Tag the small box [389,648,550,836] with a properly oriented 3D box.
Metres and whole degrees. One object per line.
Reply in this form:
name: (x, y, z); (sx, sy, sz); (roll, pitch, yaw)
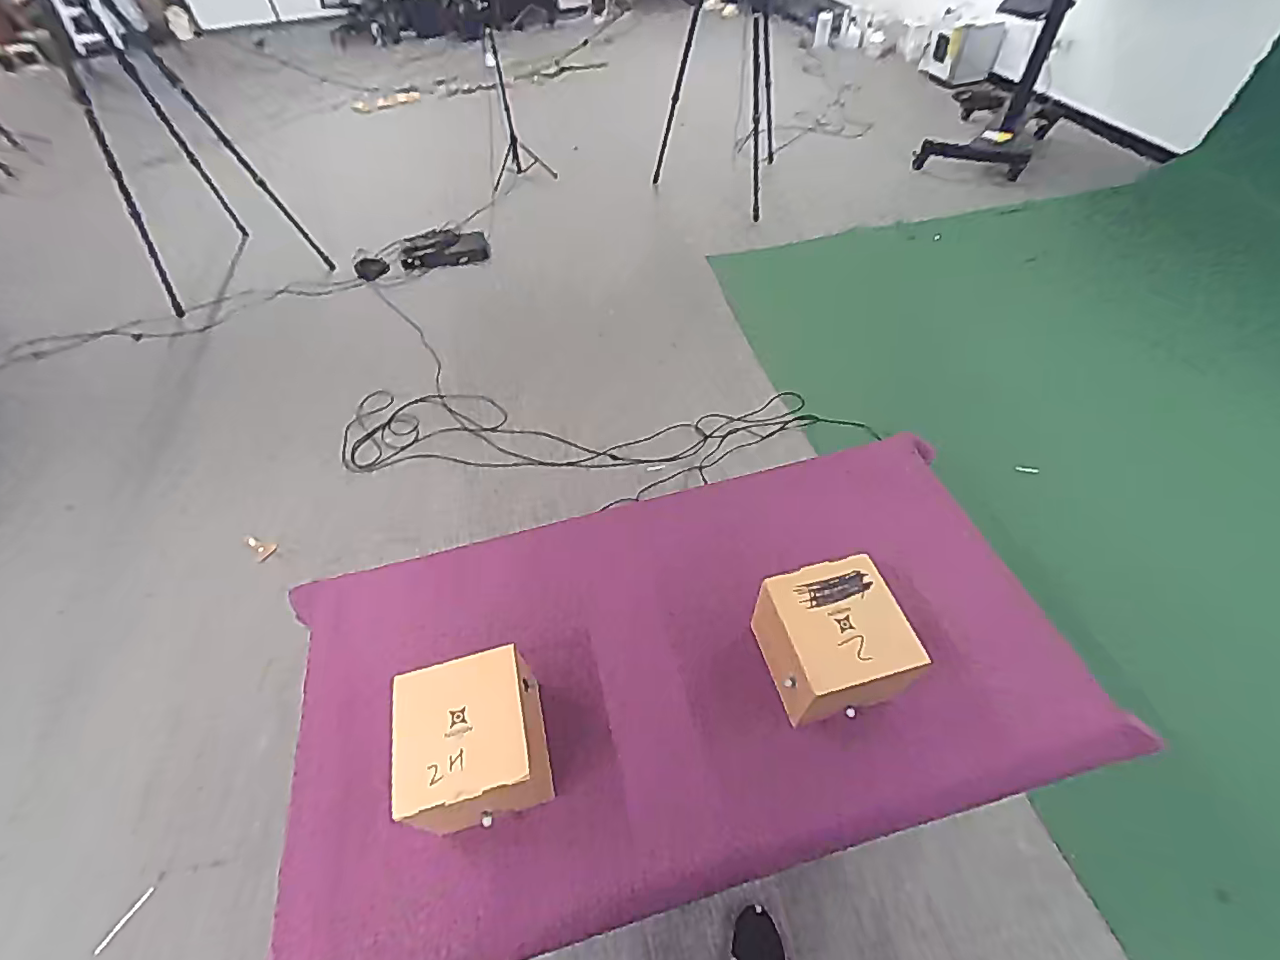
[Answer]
small box: (-0.230, 0.366, 0.753); (0.168, 0.176, 0.179); (-14, 52, -7)
